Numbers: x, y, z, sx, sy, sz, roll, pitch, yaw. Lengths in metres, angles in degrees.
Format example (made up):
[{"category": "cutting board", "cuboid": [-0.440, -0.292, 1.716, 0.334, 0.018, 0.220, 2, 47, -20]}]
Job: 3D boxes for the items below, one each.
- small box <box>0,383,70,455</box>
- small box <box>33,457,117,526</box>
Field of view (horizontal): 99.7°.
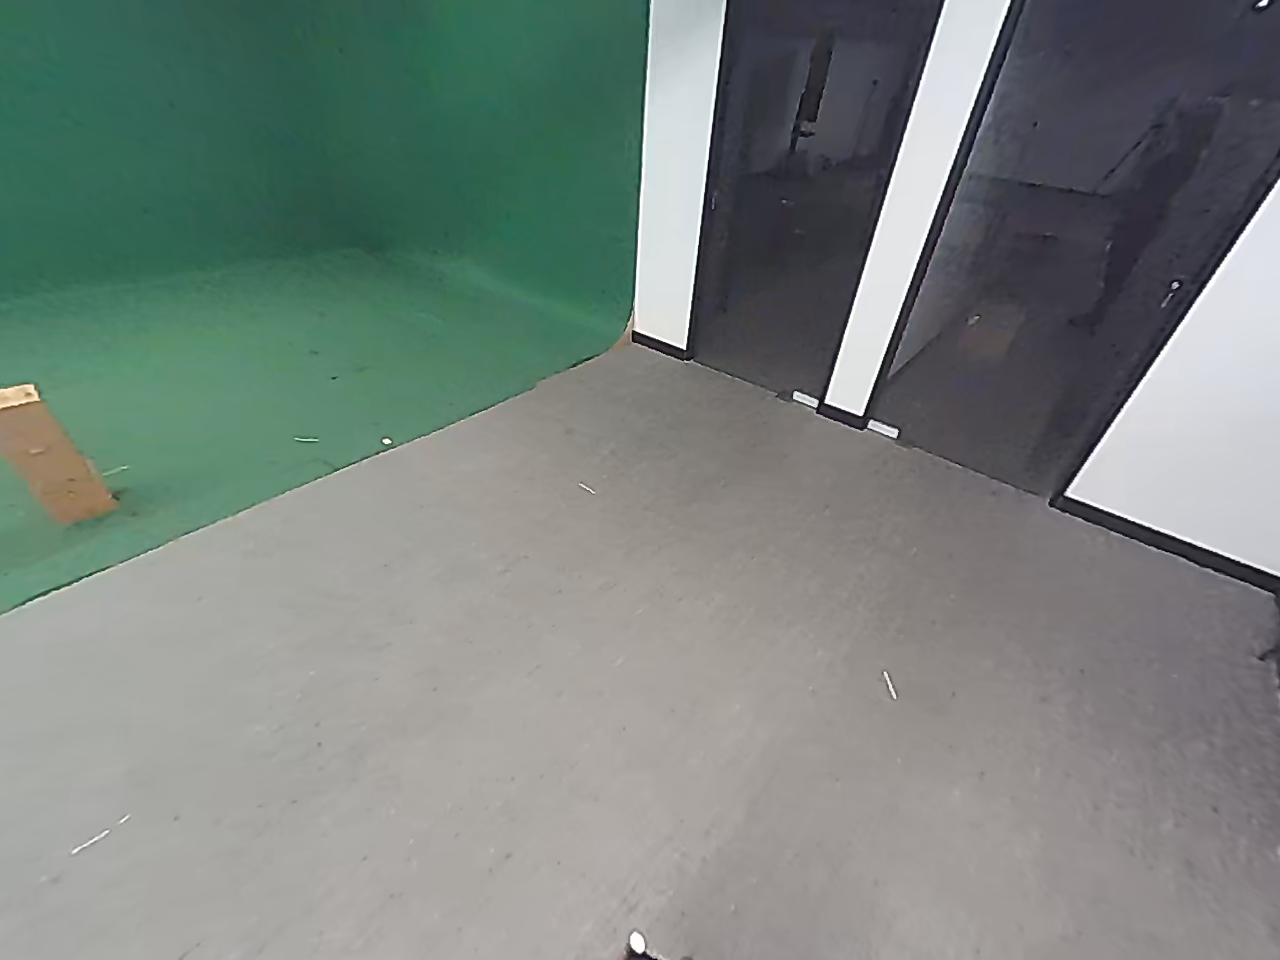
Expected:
[{"category": "small box", "cuboid": [-2.173, -0.212, 1.896, 0.168, 0.176, 0.179, 31, 45, 31]}, {"category": "small box", "cuboid": [-2.185, 0.044, 2.101, 0.168, 0.176, 0.179, 33, 46, 31]}]
